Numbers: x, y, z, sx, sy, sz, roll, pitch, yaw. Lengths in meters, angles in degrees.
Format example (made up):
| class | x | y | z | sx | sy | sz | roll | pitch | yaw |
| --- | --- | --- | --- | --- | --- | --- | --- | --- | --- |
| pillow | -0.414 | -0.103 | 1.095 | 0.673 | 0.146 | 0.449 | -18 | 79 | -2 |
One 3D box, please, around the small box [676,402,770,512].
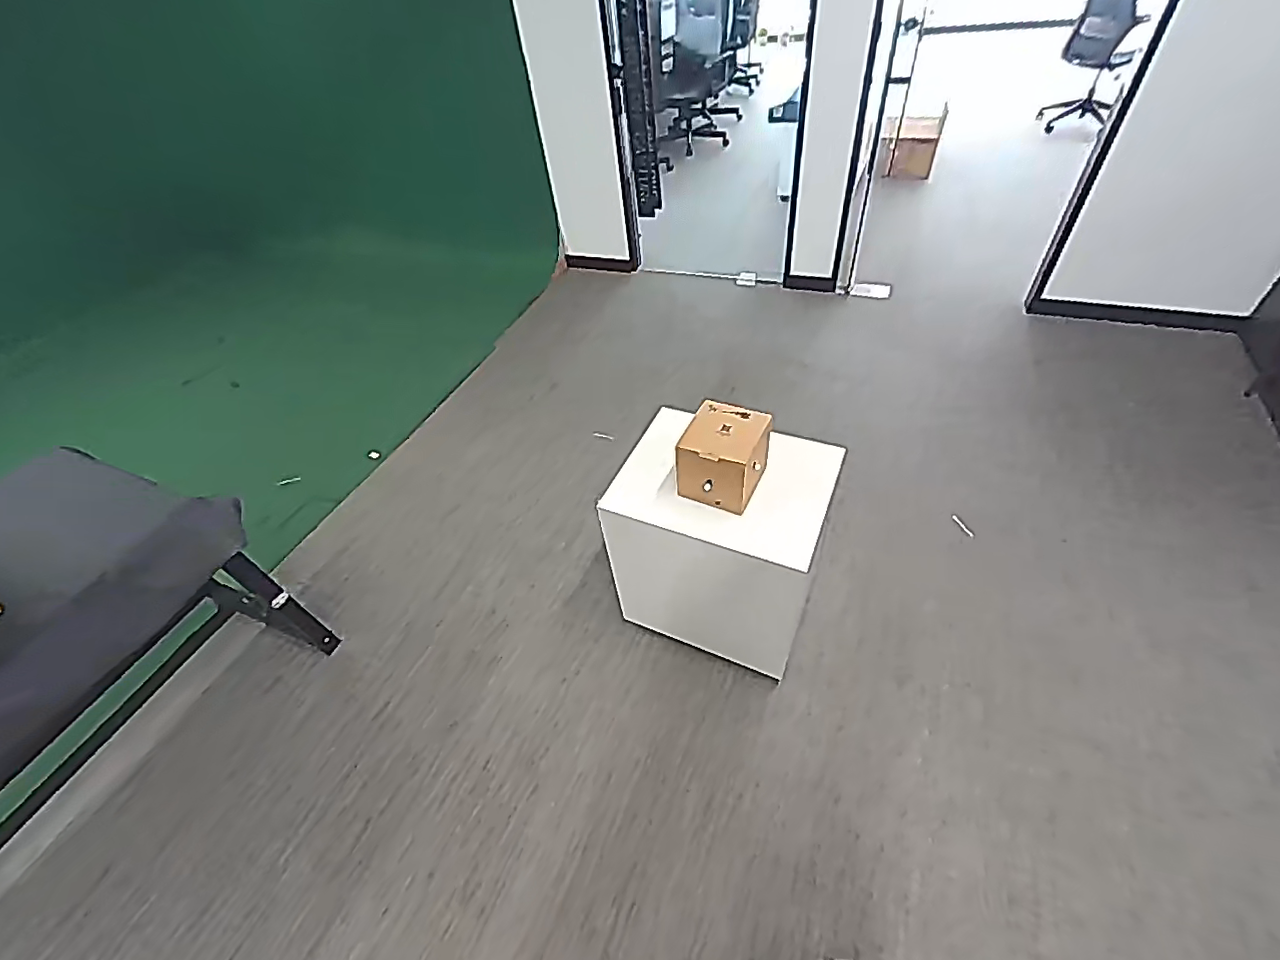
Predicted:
| class | x | y | z | sx | sy | sz | roll | pitch | yaw |
| --- | --- | --- | --- | --- | --- | --- | --- | --- | --- |
| small box | 0.197 | -0.053 | 1.269 | 0.168 | 0.176 | 0.179 | 16 | 51 | 21 |
